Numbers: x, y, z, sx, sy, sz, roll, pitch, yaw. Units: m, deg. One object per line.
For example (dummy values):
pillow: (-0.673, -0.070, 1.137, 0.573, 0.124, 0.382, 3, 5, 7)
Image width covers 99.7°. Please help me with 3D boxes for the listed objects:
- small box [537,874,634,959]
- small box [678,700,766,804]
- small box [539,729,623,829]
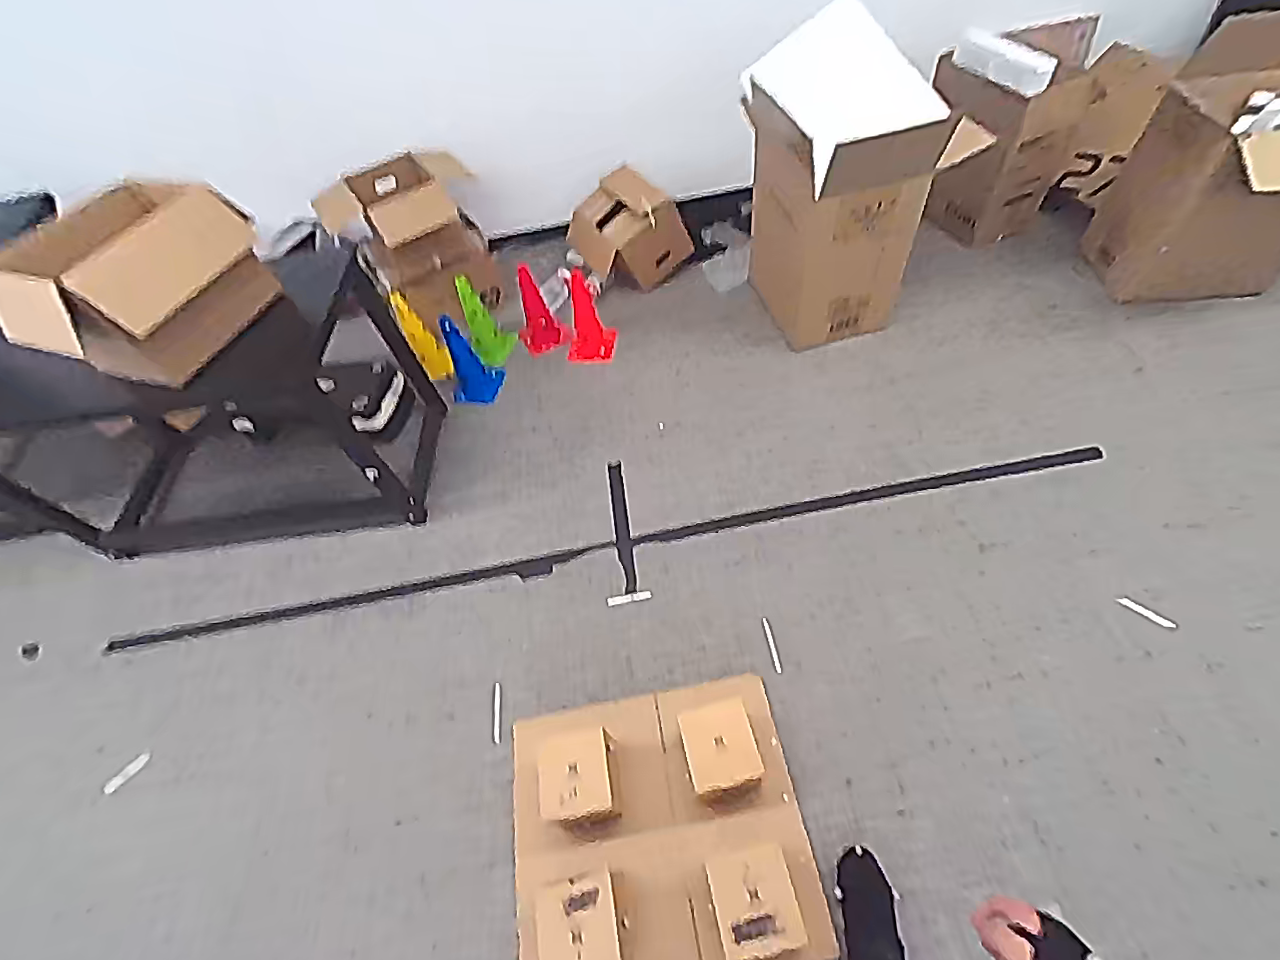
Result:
small box: (-0.114, 0.961, 1.151, 0.168, 0.176, 0.179, -13, 55, 0)
small box: (0.195, 0.667, 1.321, 0.168, 0.176, 0.179, -15, 54, -2)
small box: (-0.143, 0.732, 1.318, 0.168, 0.176, 0.179, -13, 54, 1)
